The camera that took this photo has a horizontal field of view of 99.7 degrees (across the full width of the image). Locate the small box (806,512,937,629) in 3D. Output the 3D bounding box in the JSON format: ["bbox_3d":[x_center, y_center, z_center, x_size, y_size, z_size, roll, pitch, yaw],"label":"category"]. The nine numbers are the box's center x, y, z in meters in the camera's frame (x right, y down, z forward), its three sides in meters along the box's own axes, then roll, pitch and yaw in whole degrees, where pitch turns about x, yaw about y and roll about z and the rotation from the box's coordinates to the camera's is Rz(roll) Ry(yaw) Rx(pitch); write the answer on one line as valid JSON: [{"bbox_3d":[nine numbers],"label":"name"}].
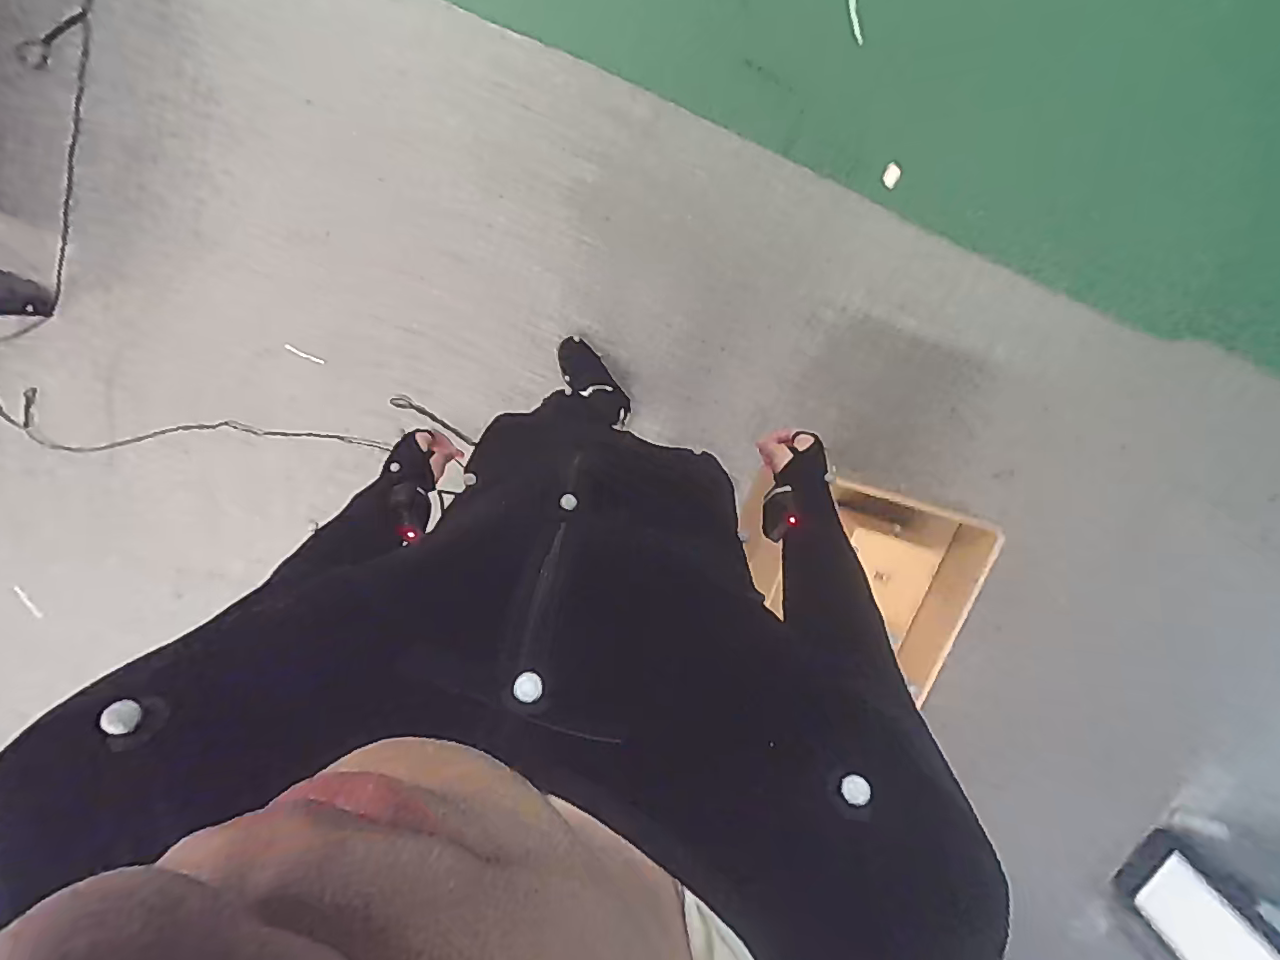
[{"bbox_3d":[0.473,0.180,1.138,0.179,0.176,0.168,17,104,-3],"label":"small box"}]
